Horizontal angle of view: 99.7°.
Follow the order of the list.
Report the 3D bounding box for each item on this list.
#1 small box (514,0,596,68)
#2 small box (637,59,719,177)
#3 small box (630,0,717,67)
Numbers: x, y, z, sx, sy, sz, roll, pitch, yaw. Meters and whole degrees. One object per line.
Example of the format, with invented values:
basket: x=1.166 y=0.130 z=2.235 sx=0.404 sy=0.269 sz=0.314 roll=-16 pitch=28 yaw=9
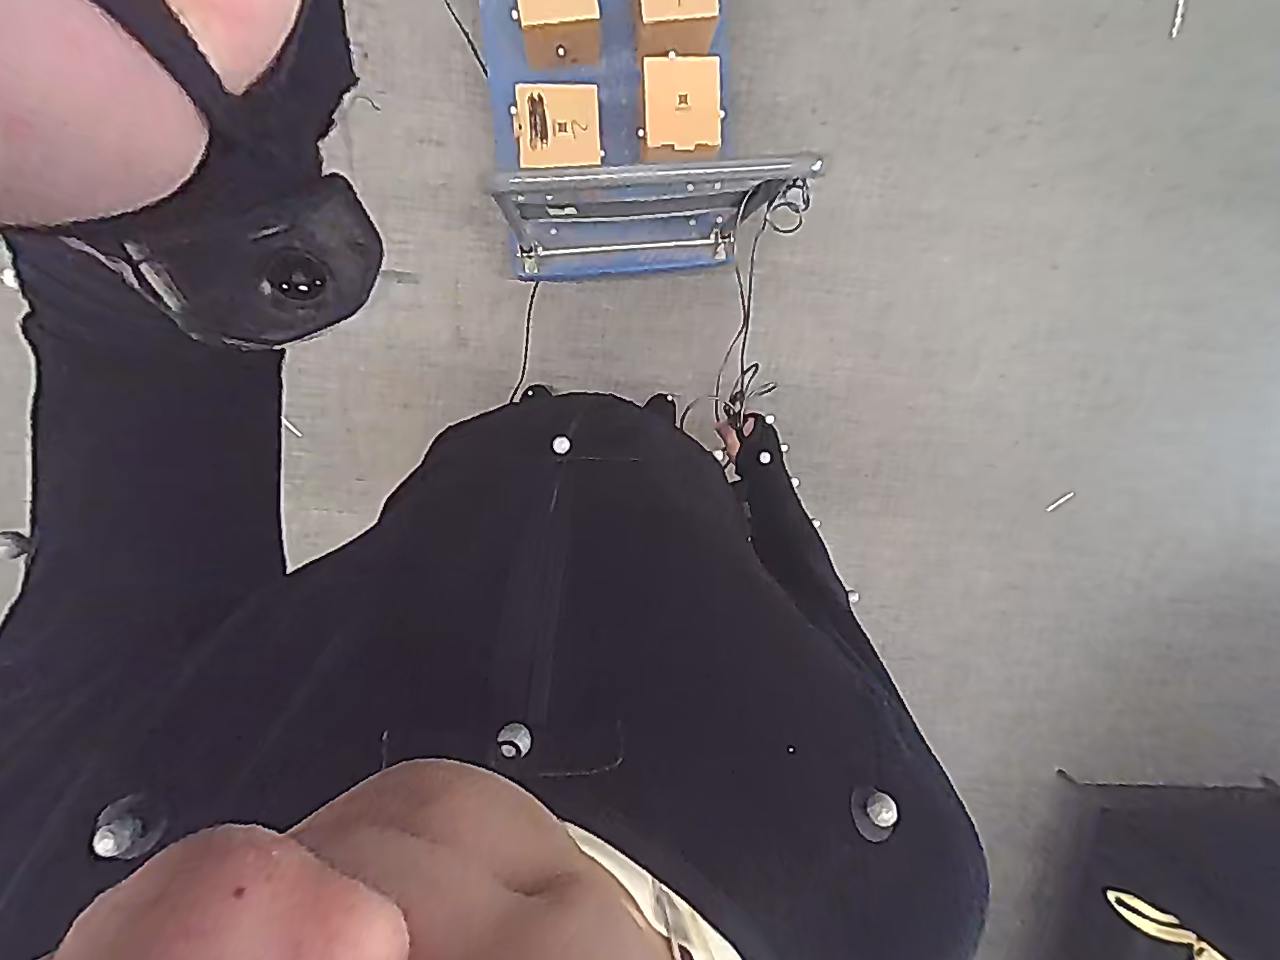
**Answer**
small box: x=-0.187 y=-1.038 z=1.181 sx=0.168 sy=0.176 sz=0.179 roll=-9 pitch=101 yaw=-4
small box: x=0.083 y=-0.822 z=1.242 sx=0.168 sy=0.176 sz=0.179 roll=-4 pitch=101 yaw=-4
small box: x=0.068 y=-1.059 z=1.196 sx=0.168 sy=0.176 sz=0.179 roll=-7 pitch=102 yaw=-2
